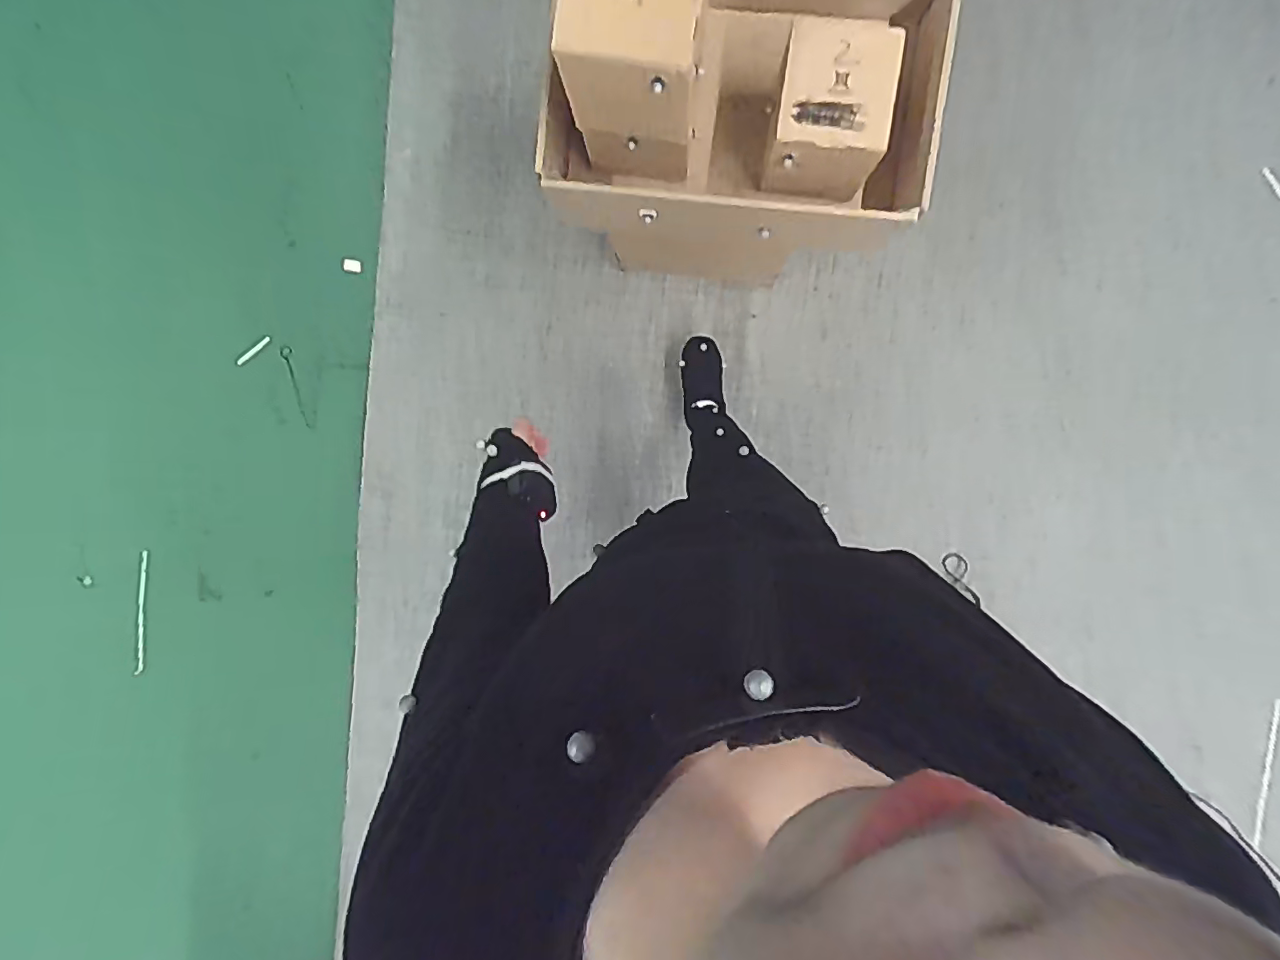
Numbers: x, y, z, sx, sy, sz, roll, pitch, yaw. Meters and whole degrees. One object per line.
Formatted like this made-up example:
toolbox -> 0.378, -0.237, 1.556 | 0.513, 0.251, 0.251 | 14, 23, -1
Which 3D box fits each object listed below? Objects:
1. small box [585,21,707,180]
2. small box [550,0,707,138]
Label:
small box -> 0.006, -0.621, 0.889 | 0.179, 0.176, 0.168 | 9, 95, 2
small box -> -0.008, -0.596, 0.729 | 0.179, 0.176, 0.168 | 9, 95, 2
